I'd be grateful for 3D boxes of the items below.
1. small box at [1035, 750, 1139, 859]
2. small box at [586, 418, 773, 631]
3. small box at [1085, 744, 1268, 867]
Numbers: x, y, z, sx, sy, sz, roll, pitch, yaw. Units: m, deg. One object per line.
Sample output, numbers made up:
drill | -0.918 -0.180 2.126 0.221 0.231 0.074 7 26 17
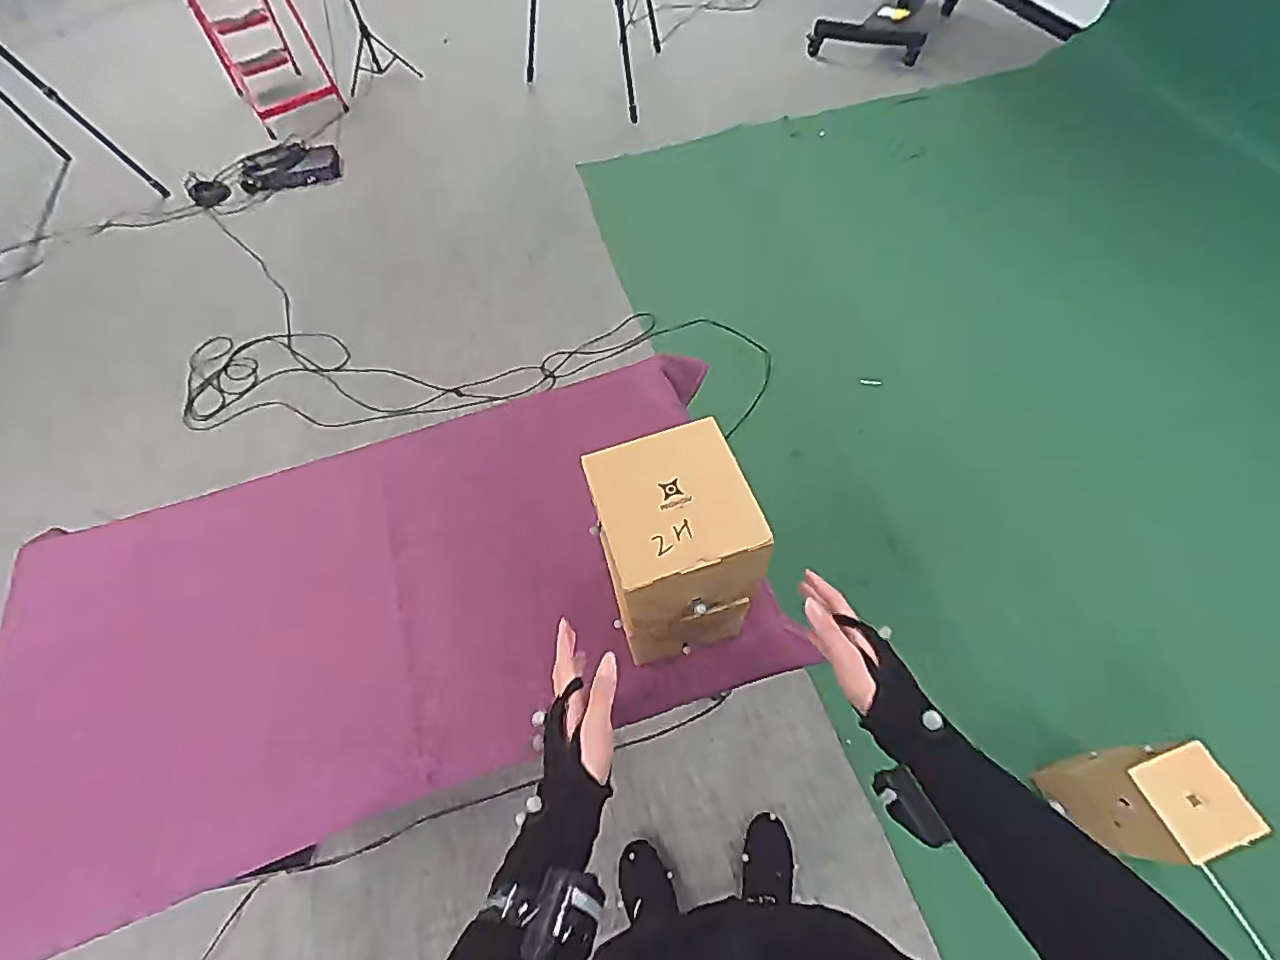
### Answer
small box | 1.071 0.738 1.241 0.179 0.176 0.168 -18 60 -6
small box | 0.042 0.058 0.658 0.168 0.176 0.179 -17 59 -5
small box | 1.065 0.660 1.101 0.179 0.176 0.168 -17 60 -8
